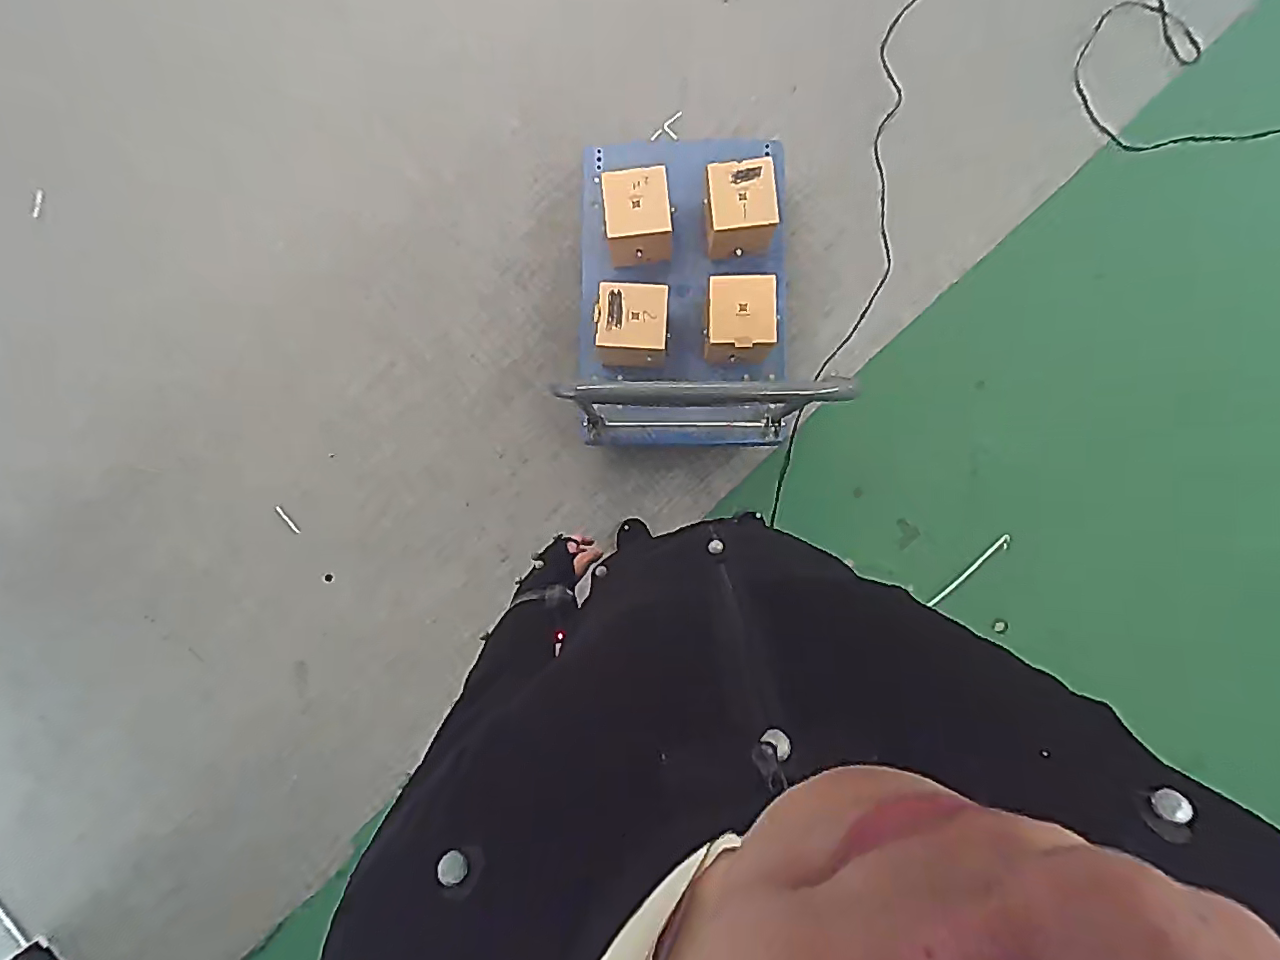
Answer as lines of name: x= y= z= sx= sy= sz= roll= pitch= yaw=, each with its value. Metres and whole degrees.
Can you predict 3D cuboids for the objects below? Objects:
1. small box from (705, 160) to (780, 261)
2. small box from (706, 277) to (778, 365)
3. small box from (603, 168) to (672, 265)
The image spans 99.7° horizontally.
small box: x=0.265 y=-0.706 z=1.430 sx=0.168 sy=0.176 sz=0.179 roll=-5 pitch=87 yaw=3
small box: x=0.261 y=-0.410 z=1.414 sx=0.168 sy=0.176 sz=0.179 roll=0 pitch=87 yaw=2
small box: x=-0.003 y=-0.691 z=1.441 sx=0.168 sy=0.176 sz=0.179 roll=-5 pitch=86 yaw=1
